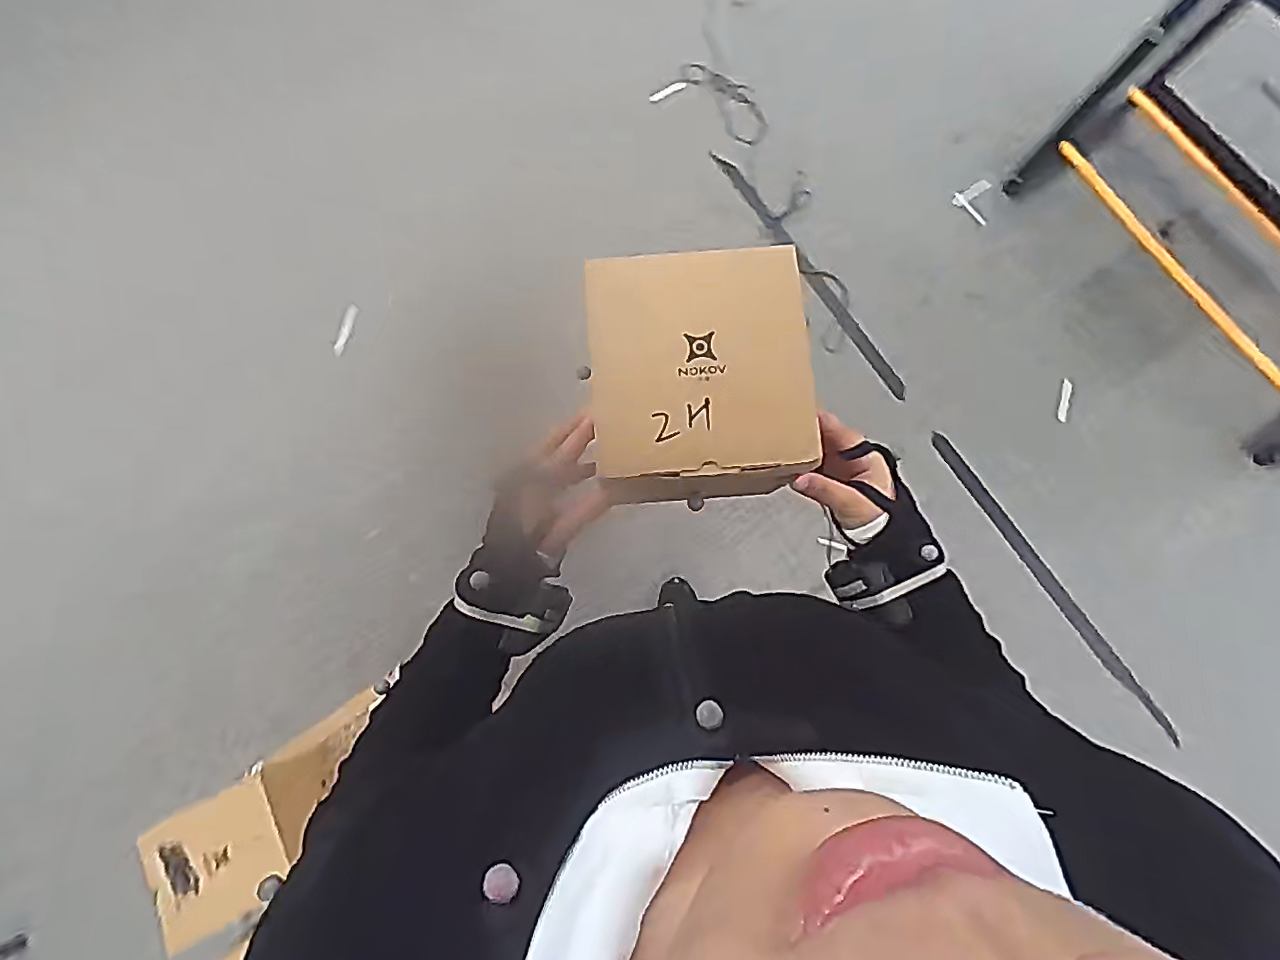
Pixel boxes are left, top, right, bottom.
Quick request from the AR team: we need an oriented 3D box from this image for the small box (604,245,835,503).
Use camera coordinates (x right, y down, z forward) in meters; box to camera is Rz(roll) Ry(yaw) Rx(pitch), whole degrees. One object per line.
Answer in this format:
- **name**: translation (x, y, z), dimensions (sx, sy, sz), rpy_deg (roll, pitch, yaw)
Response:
- **small box**: translation (0.055, -0.079, 0.479), dimensions (0.168, 0.176, 0.179), rpy_deg (-3, 81, 0)
